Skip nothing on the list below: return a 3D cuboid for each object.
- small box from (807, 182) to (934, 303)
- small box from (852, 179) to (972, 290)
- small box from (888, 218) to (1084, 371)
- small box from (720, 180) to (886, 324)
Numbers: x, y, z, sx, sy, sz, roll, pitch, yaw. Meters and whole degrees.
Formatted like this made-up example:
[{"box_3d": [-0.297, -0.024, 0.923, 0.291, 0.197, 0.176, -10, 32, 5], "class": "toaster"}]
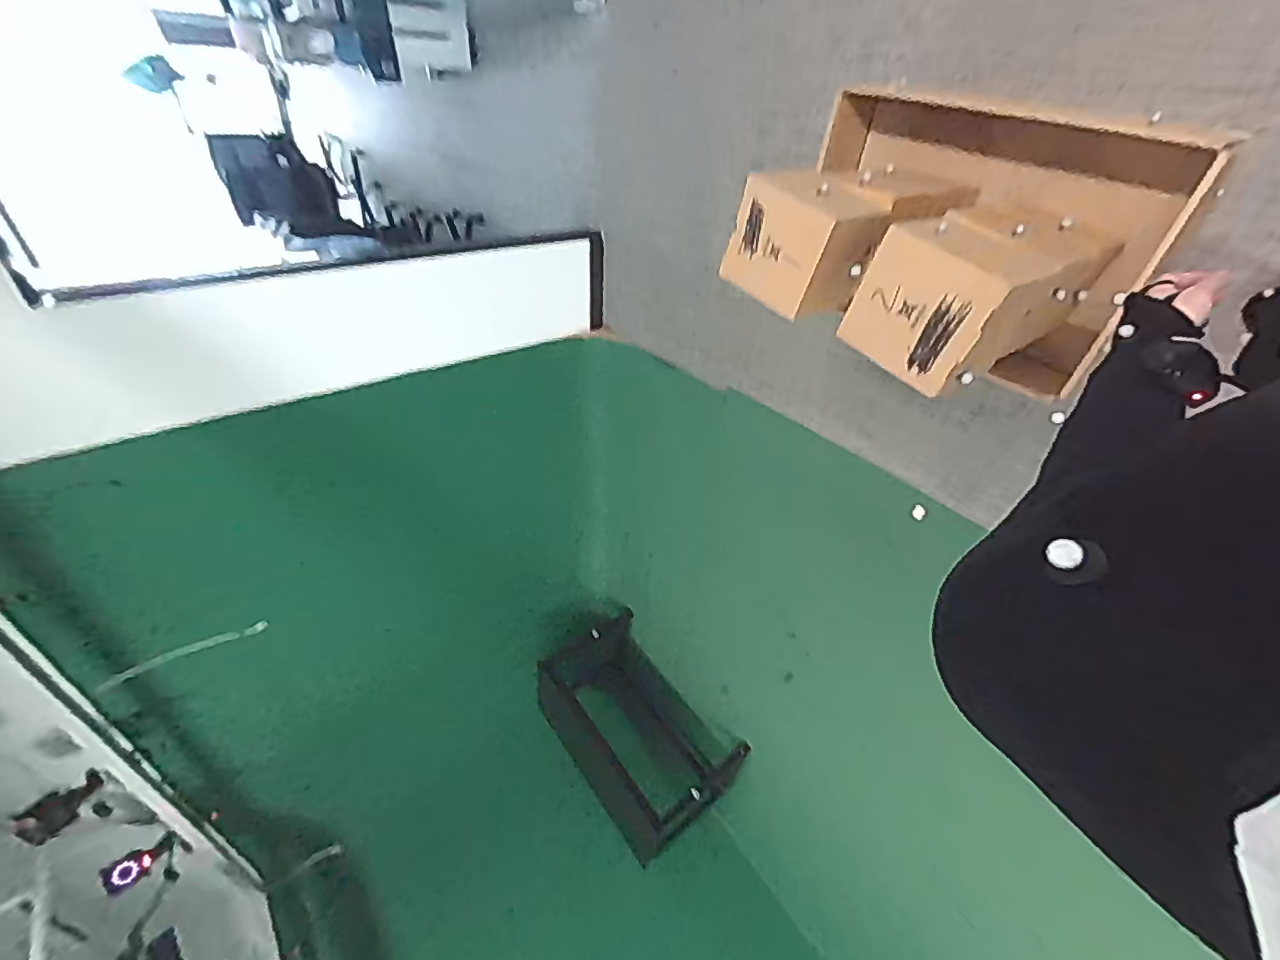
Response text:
[{"box_3d": [0.400, -0.446, 1.003, 0.179, 0.176, 0.168, 38, 136, 34], "class": "small box"}, {"box_3d": [0.522, -0.502, 1.094, 0.179, 0.176, 0.168, 38, 138, 35], "class": "small box"}, {"box_3d": [0.551, -0.305, 0.866, 0.179, 0.176, 0.168, 49, 142, 28], "class": "small box"}, {"box_3d": [0.272, -0.390, 0.917, 0.179, 0.176, 0.168, 44, 141, 27], "class": "small box"}]
